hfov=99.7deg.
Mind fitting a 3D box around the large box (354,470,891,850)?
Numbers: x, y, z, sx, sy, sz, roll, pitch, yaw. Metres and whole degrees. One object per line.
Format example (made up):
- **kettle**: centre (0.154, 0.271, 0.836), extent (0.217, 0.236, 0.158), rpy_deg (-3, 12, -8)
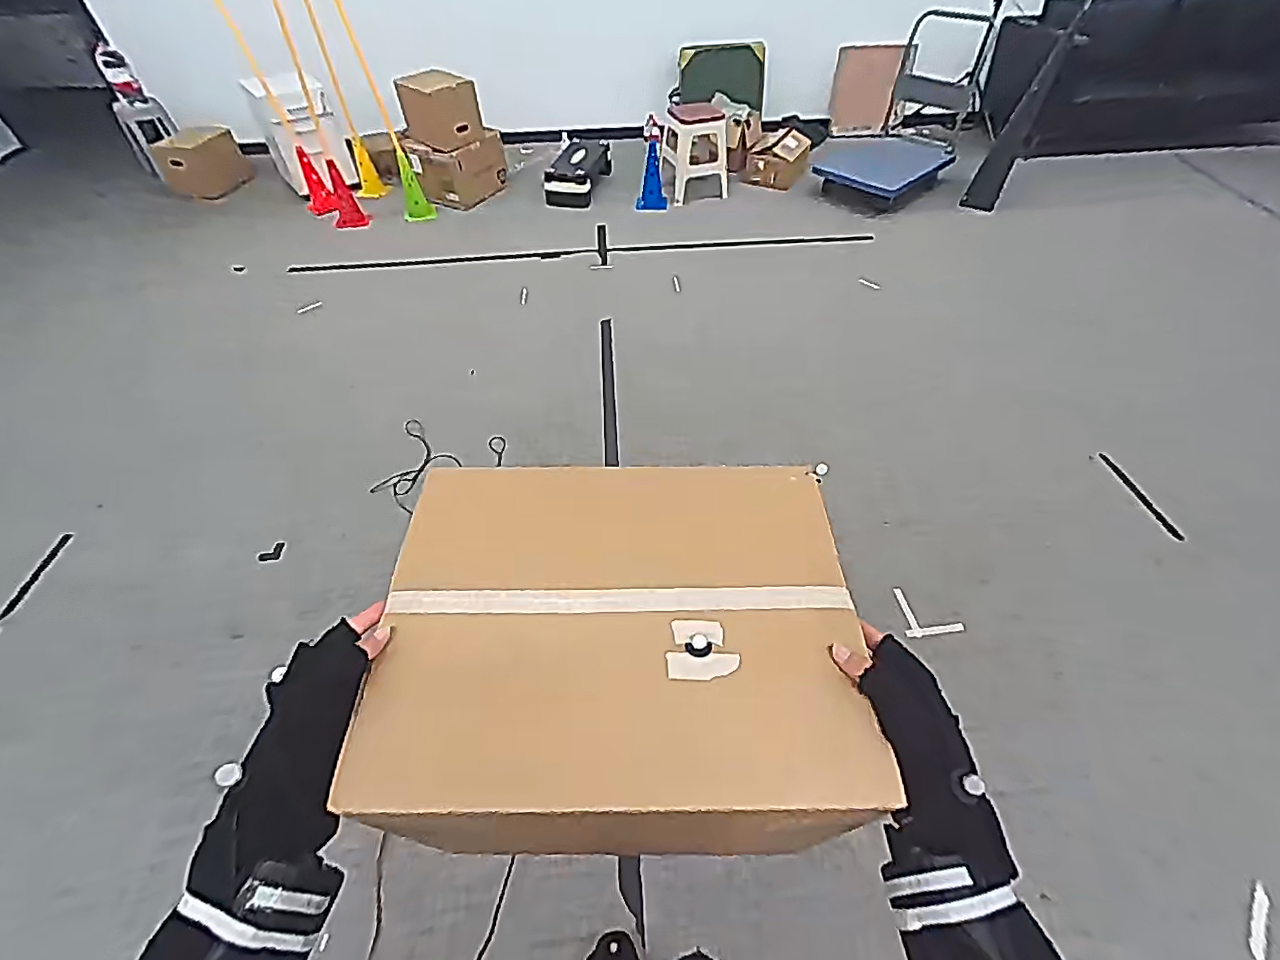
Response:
- **large box**: centre (-0.016, 0.204, 0.601), extent (0.408, 0.320, 0.320), rpy_deg (0, 51, 0)
